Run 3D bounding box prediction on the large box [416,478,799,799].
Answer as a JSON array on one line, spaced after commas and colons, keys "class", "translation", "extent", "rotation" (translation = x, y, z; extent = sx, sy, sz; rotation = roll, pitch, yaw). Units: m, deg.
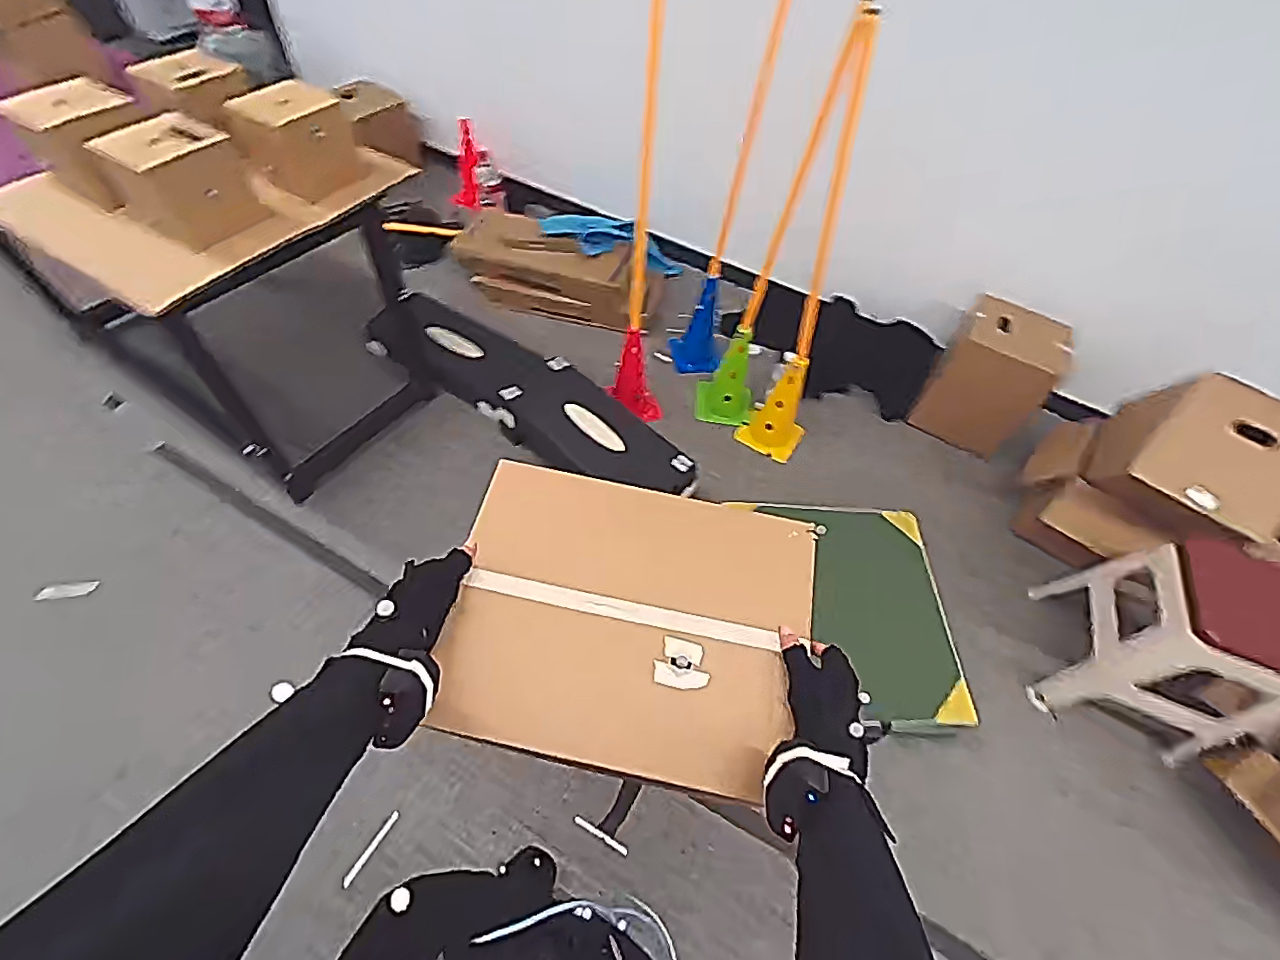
[{"class": "large box", "translation": [-0.028, 0.232, 0.754], "extent": [0.408, 0.320, 0.320], "rotation": [11, 61, 1]}]
